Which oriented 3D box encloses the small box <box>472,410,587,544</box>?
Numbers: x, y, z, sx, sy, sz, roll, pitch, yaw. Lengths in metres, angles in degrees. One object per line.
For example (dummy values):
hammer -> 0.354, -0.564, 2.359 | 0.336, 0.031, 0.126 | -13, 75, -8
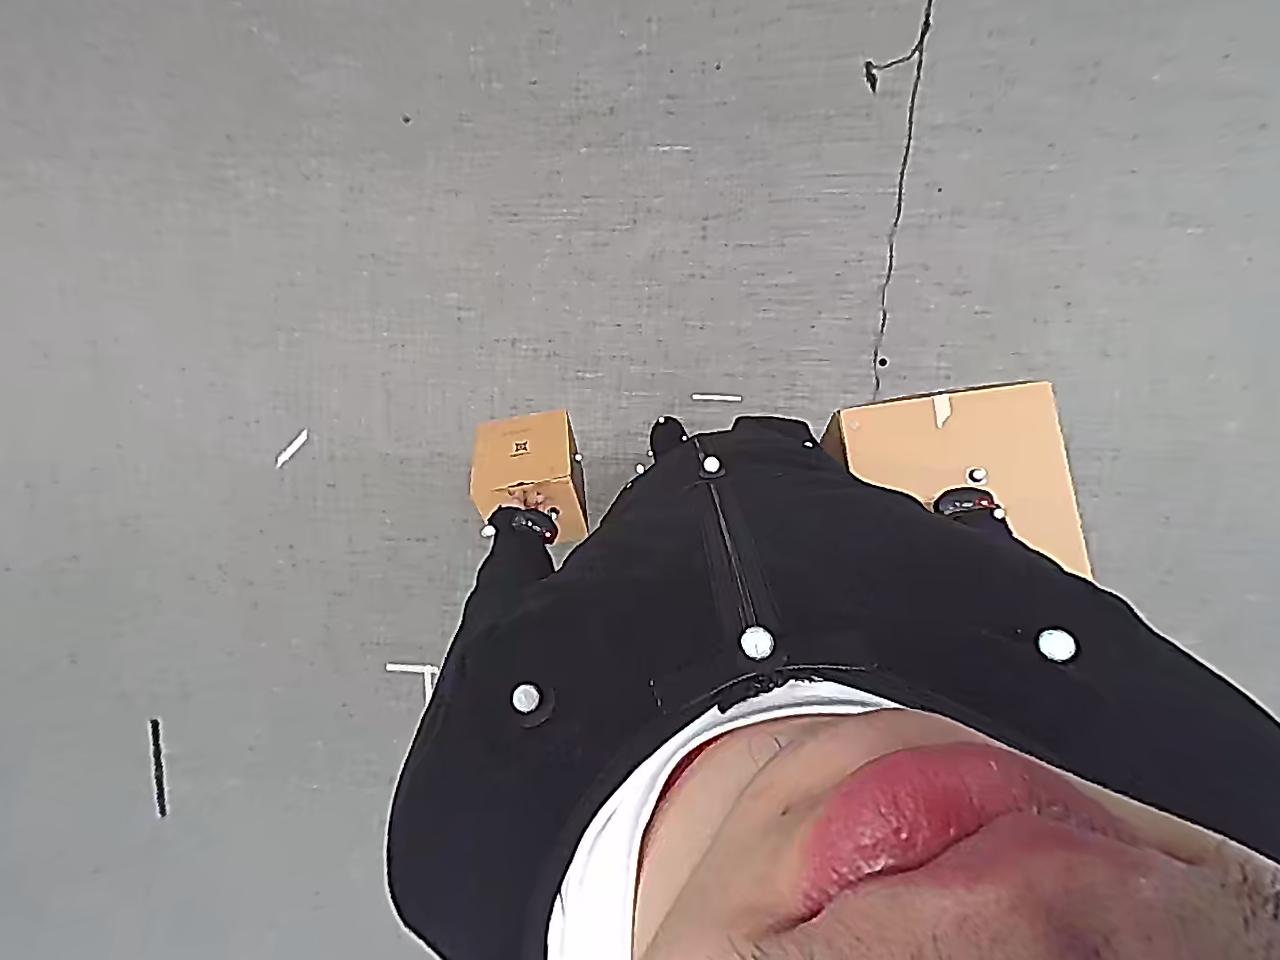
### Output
small box -> -0.196, 0.002, 0.989 | 0.168, 0.179, 0.176 | -10, 137, -2
